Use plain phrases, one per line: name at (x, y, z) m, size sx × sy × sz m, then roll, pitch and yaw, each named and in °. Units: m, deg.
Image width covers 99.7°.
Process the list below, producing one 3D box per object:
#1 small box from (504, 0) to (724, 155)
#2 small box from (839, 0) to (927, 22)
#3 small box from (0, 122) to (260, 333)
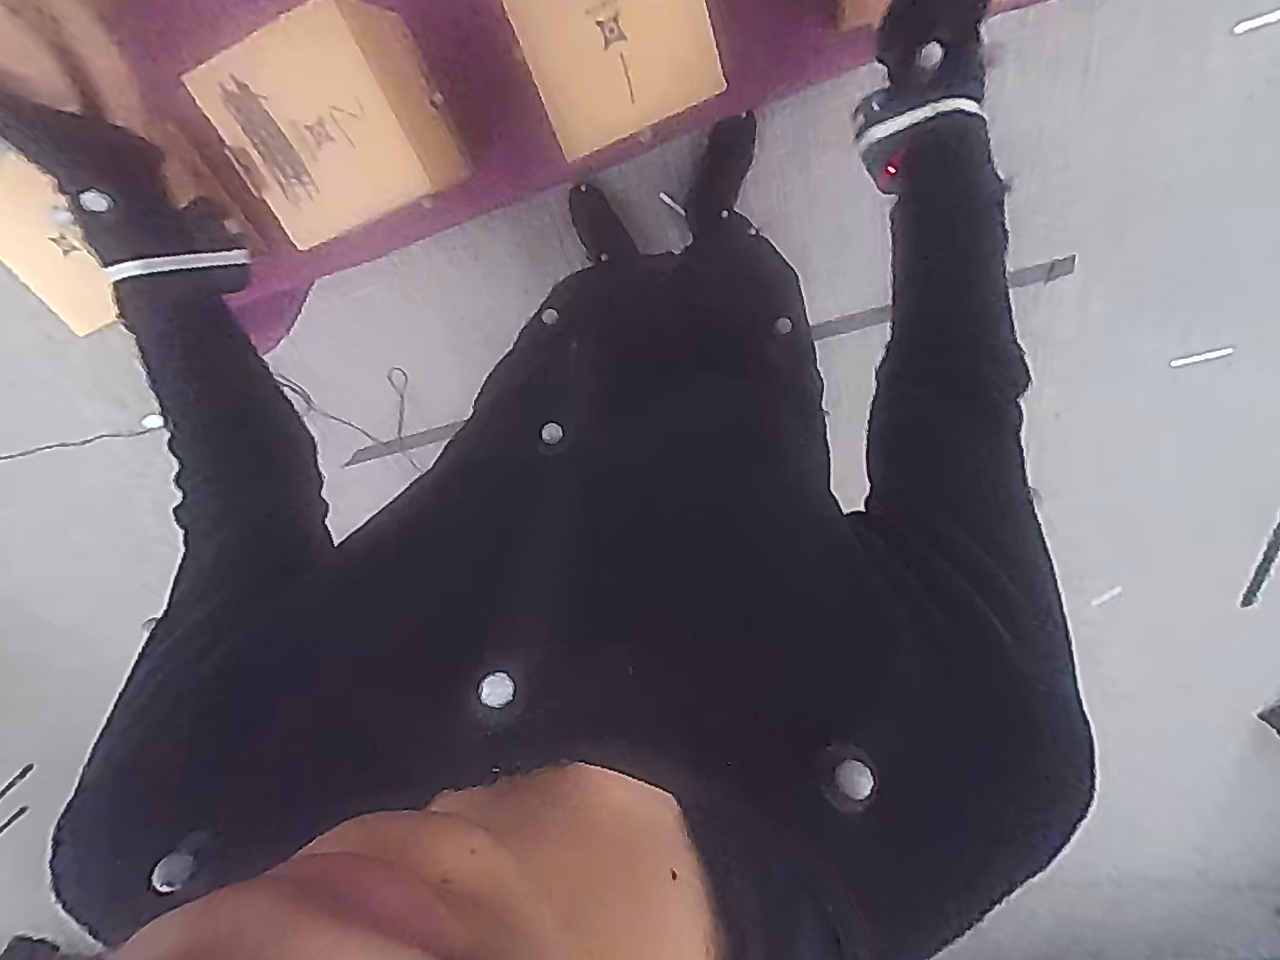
small box at (-0.026, -0.451, 0.533) m, size 0.168 × 0.176 × 0.179 m, roll -16°, pitch 124°, yaw 14°
small box at (0.270, -0.532, 0.461) m, size 0.168 × 0.176 × 0.179 m, roll -9°, pitch 124°, yaw 10°
small box at (-0.625, -0.309, 0.658) m, size 0.179 × 0.176 × 0.168 m, roll -18°, pitch 123°, yaw 13°
